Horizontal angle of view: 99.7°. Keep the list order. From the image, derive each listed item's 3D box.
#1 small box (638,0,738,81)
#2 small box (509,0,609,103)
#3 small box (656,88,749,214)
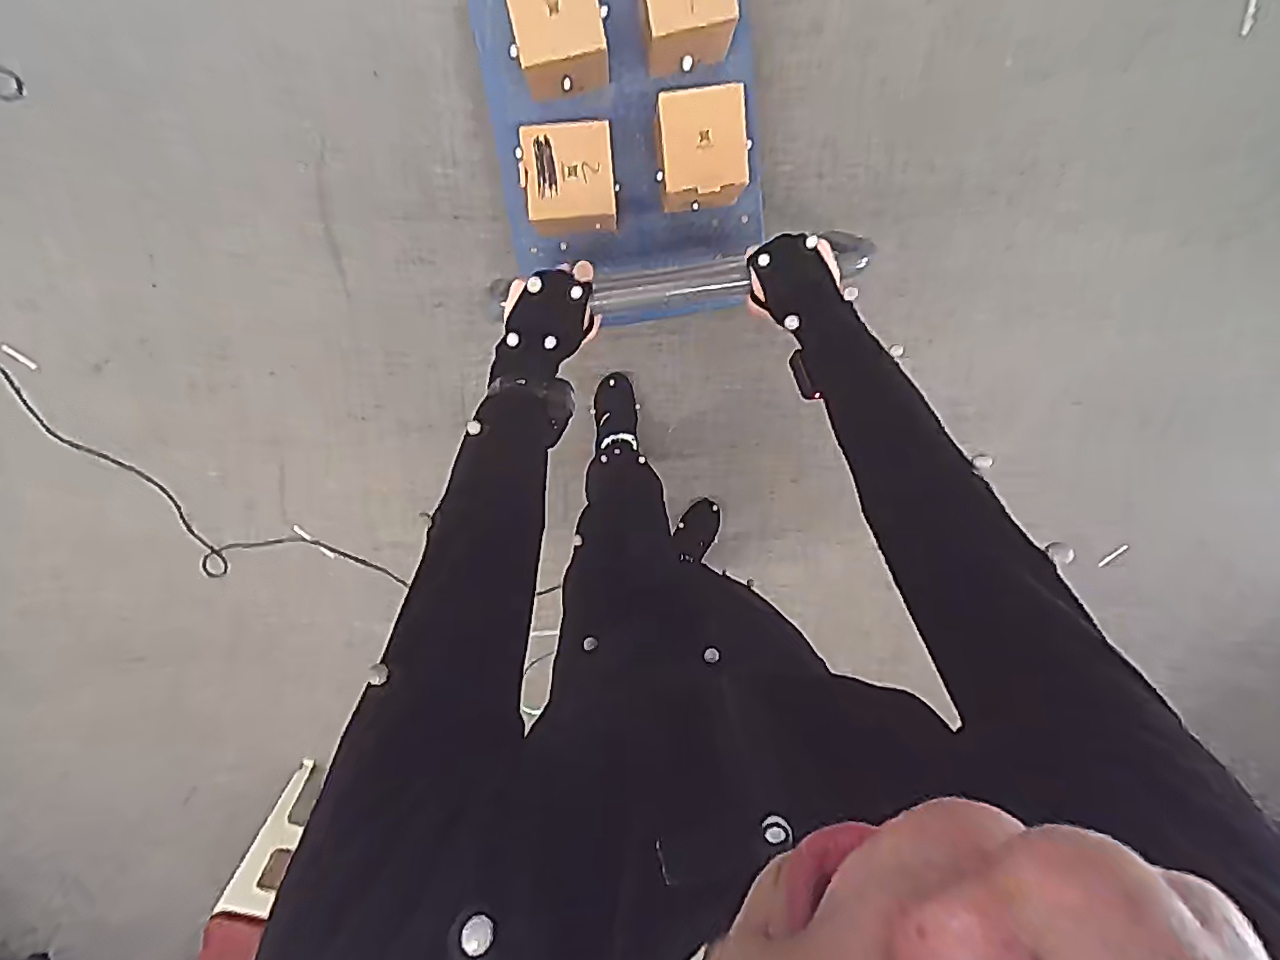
[{"bbox_3d":[0.088,-0.945,1.078,0.168,0.176,0.179,-11,105,3],"label":"small box"},{"bbox_3d":[-0.158,-0.893,1.087,0.168,0.176,0.179,-12,104,1],"label":"small box"},{"bbox_3d":[0.127,-0.686,1.144,0.168,0.176,0.179,-7,104,1],"label":"small box"}]
